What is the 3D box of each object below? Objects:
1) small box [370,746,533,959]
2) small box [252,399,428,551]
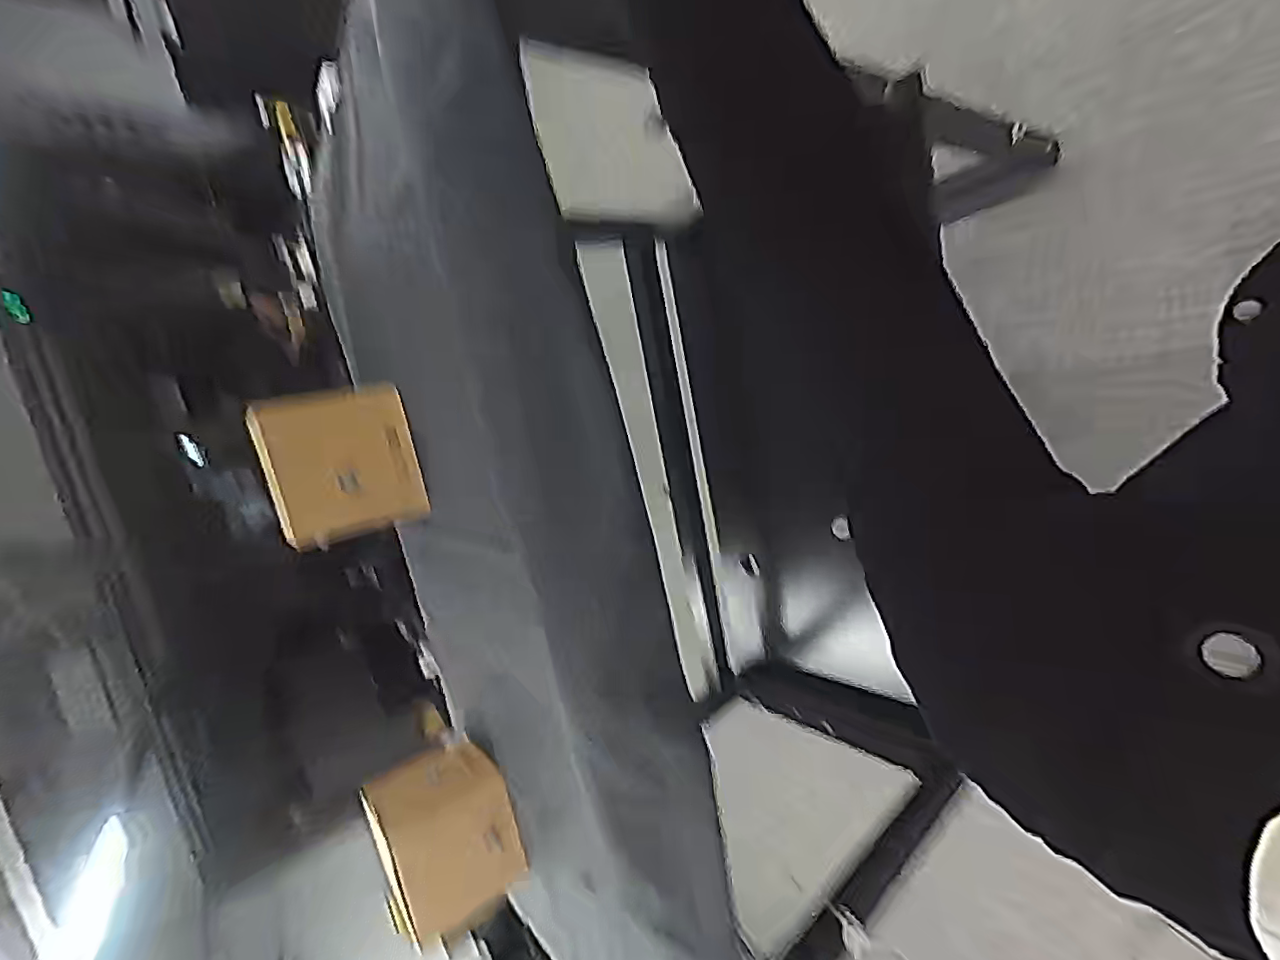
[{"bbox_3d":[-0.287,0.547,0.828,0.168,0.176,0.179,-4,100,54],"label":"small box"},{"bbox_3d":[-0.414,-0.011,0.756,0.179,0.176,0.168,-2,103,53],"label":"small box"}]
